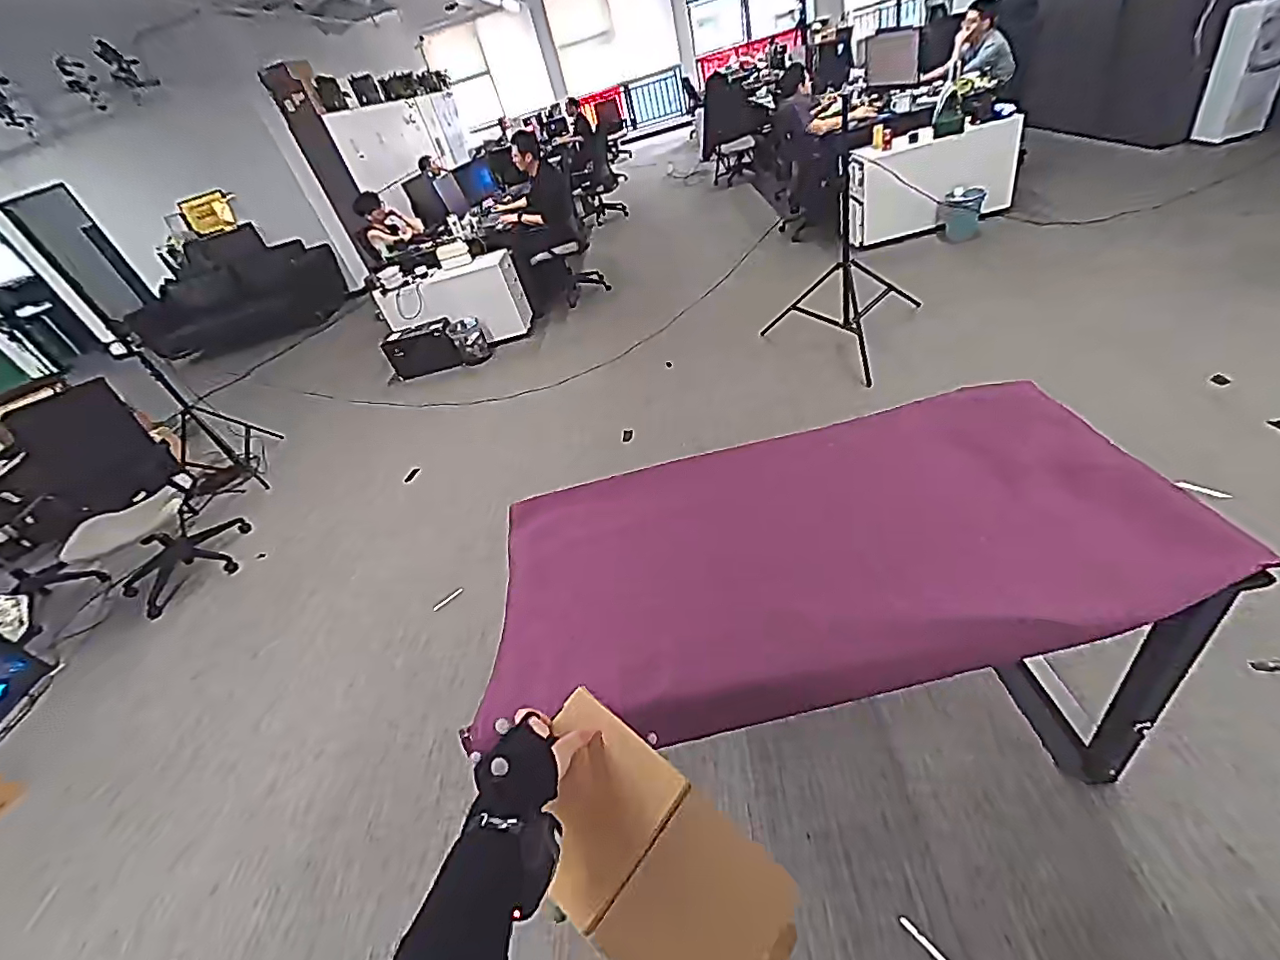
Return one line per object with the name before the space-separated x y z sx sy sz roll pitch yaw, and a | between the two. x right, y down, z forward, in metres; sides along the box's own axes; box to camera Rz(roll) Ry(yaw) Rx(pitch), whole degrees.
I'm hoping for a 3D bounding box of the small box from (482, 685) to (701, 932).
small box | -0.045 0.385 0.642 0.179 0.176 0.168 26 60 32
